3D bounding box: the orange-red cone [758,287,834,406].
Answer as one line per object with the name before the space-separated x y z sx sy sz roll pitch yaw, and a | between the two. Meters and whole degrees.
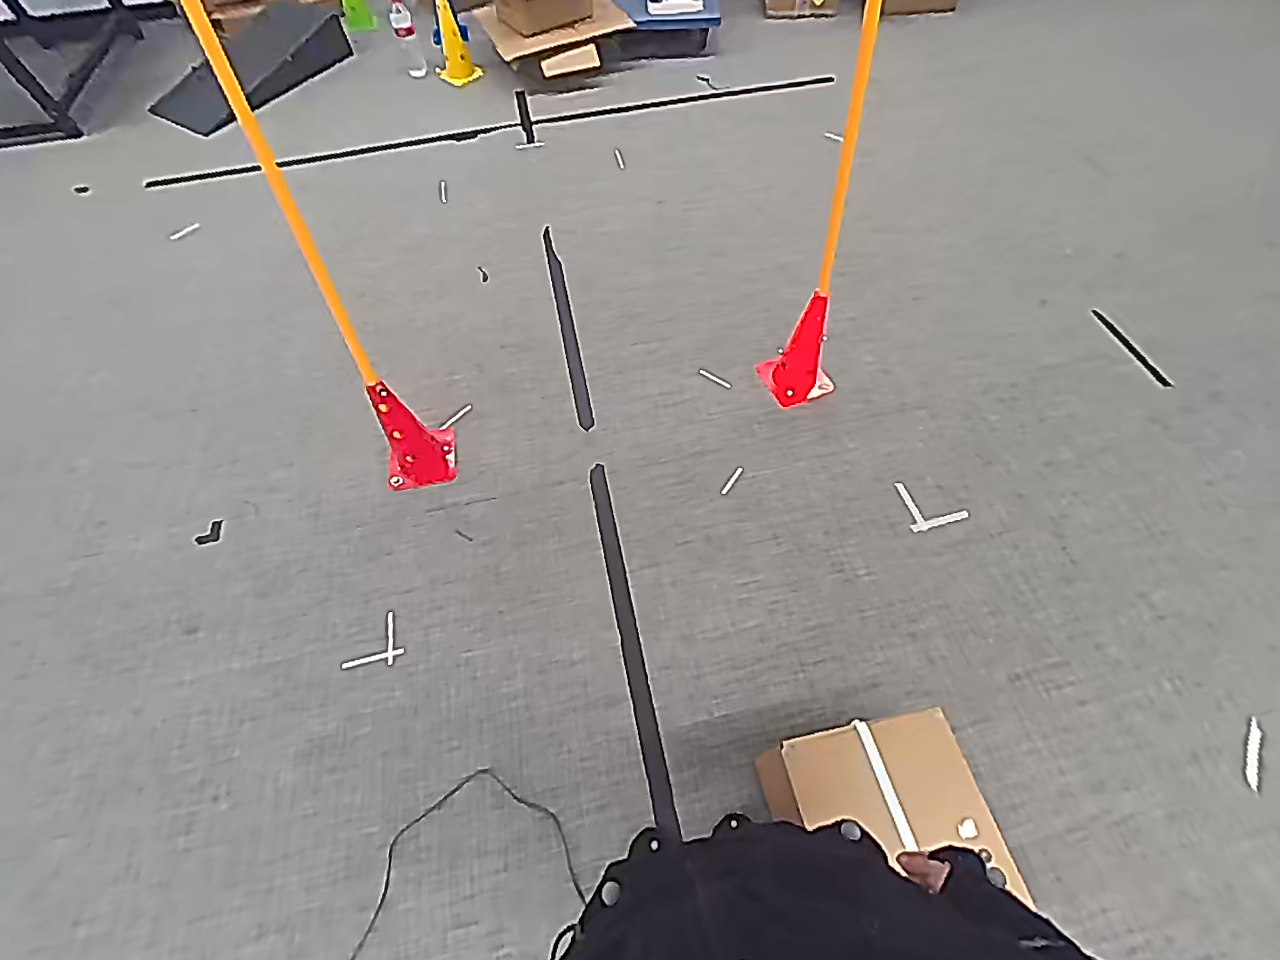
orange-red cone | 0.506 -0.423 1.620 0.199 0.360 0.198 -19 62 -10
